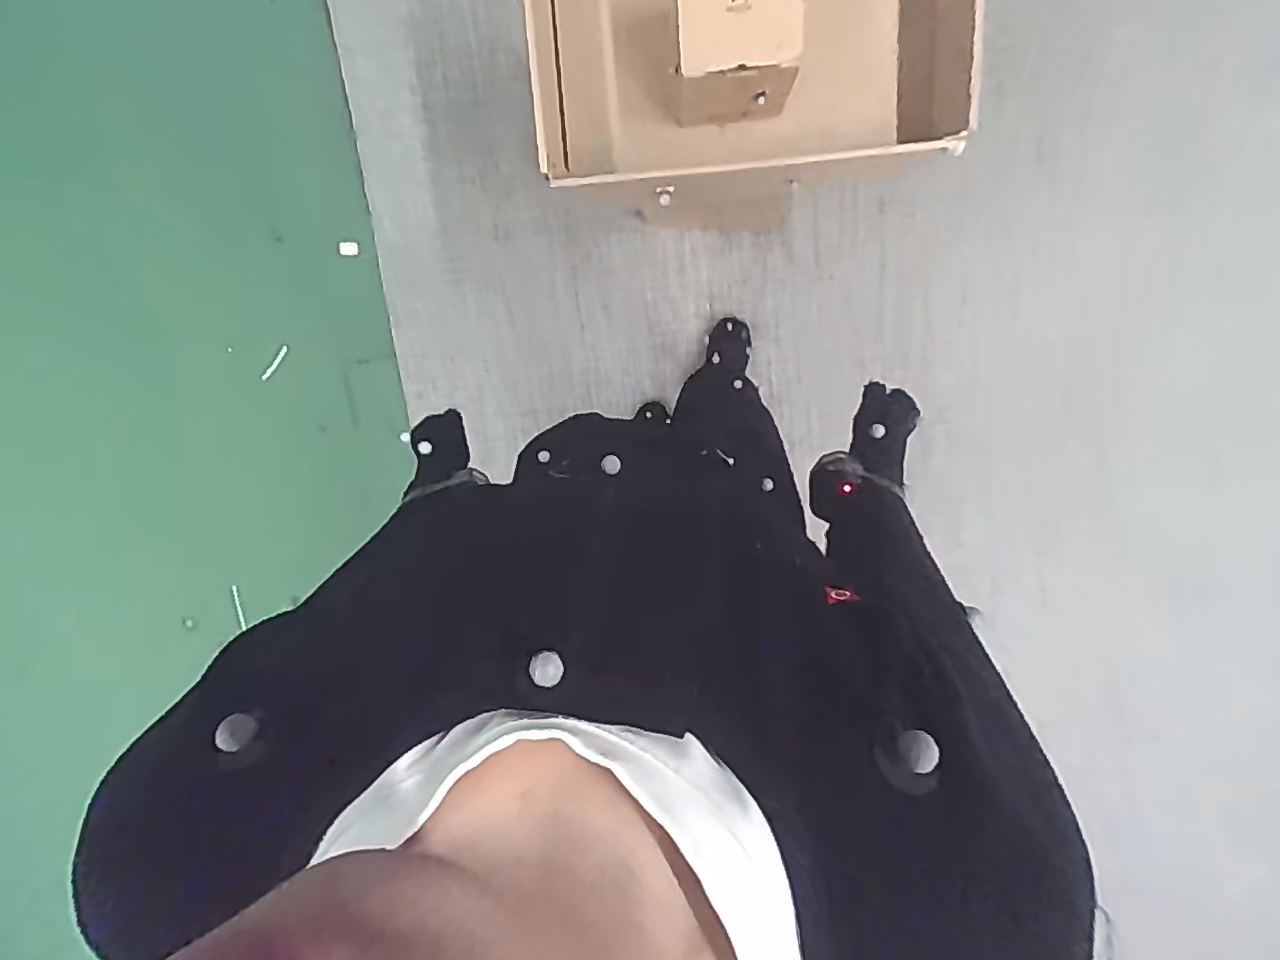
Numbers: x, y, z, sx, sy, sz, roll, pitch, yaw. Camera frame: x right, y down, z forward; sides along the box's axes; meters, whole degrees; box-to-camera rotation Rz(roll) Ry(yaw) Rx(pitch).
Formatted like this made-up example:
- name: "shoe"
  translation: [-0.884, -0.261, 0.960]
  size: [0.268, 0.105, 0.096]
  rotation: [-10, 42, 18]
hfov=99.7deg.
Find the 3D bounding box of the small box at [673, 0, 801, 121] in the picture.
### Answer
- name: "small box"
  translation: [0.136, -0.656, 0.793]
  size: [0.168, 0.176, 0.179]
  rotation: [-4, 100, 4]
